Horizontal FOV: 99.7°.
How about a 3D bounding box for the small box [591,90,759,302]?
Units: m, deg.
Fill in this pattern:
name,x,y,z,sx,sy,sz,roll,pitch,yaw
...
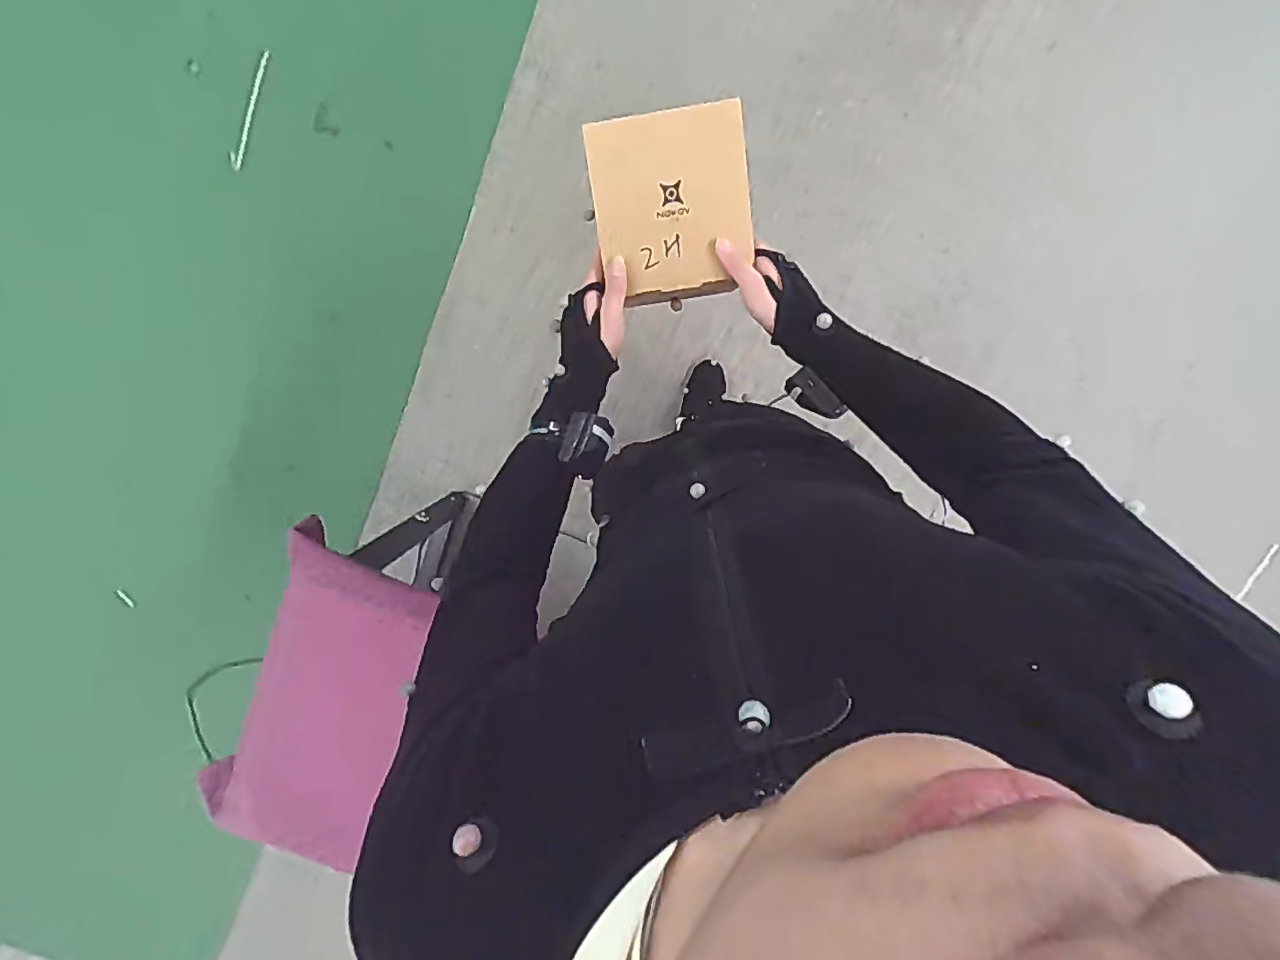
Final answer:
name,x,y,z,sx,sy,sz,roll,pitch,yaw
small box,0.039,-0.318,0.643,0.168,0.176,0.179,-7,104,3
